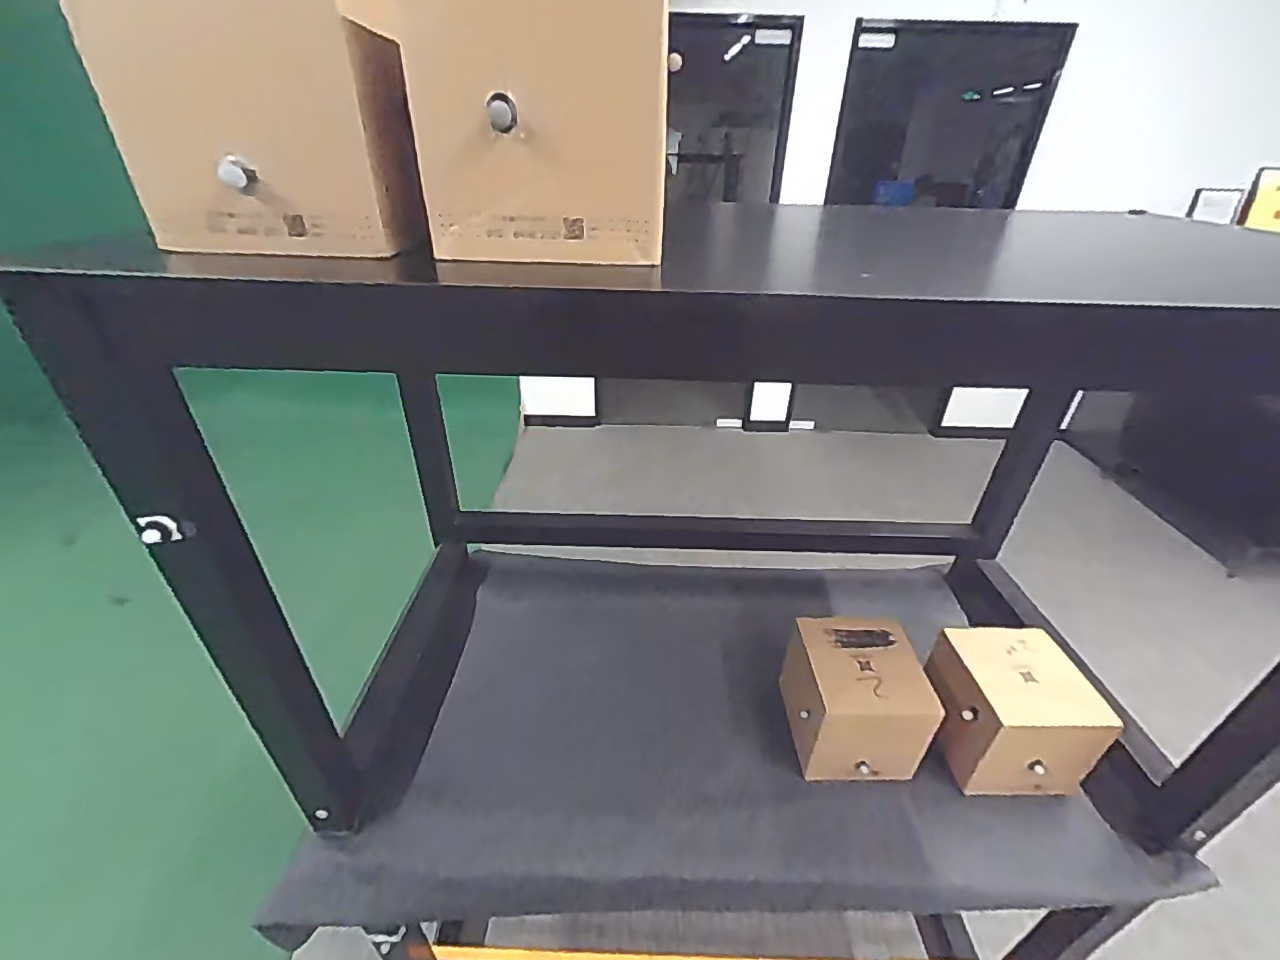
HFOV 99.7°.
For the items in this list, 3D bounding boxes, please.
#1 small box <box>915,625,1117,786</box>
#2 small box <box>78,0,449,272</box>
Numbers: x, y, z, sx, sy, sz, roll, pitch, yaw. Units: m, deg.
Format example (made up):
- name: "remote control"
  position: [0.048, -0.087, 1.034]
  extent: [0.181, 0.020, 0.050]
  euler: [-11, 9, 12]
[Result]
- name: "small box"
  position: [0.560, 0.348, 0.836]
  extent: [0.168, 0.176, 0.179]
  euler: [0, 31, -1]
- name: "small box"
  position: [-0.262, -0.273, 0.428]
  extent: [0.168, 0.176, 0.179]
  euler: [1, 33, -1]
